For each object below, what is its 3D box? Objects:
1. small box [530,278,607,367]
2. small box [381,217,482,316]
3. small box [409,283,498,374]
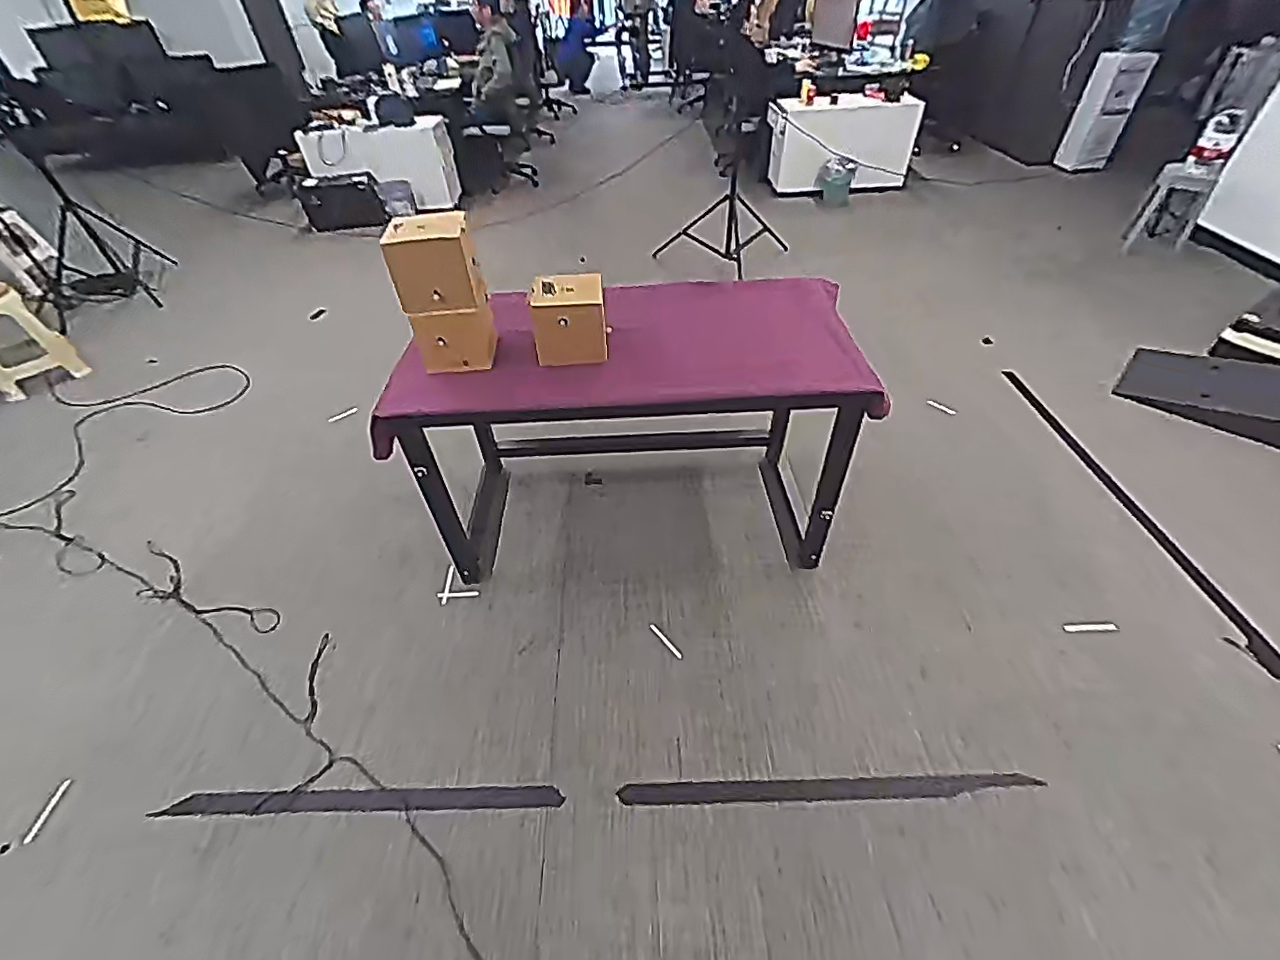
[{"bbox_3d":[-0.179,-0.406,1.404,0.179,0.176,0.168,-4,44,-2],"label":"small box"},{"bbox_3d":[-0.485,-0.509,1.293,0.179,0.176,0.168,-6,44,-4],"label":"small box"},{"bbox_3d":[-0.474,-0.387,1.402,0.168,0.176,0.179,-5,44,-2],"label":"small box"}]
